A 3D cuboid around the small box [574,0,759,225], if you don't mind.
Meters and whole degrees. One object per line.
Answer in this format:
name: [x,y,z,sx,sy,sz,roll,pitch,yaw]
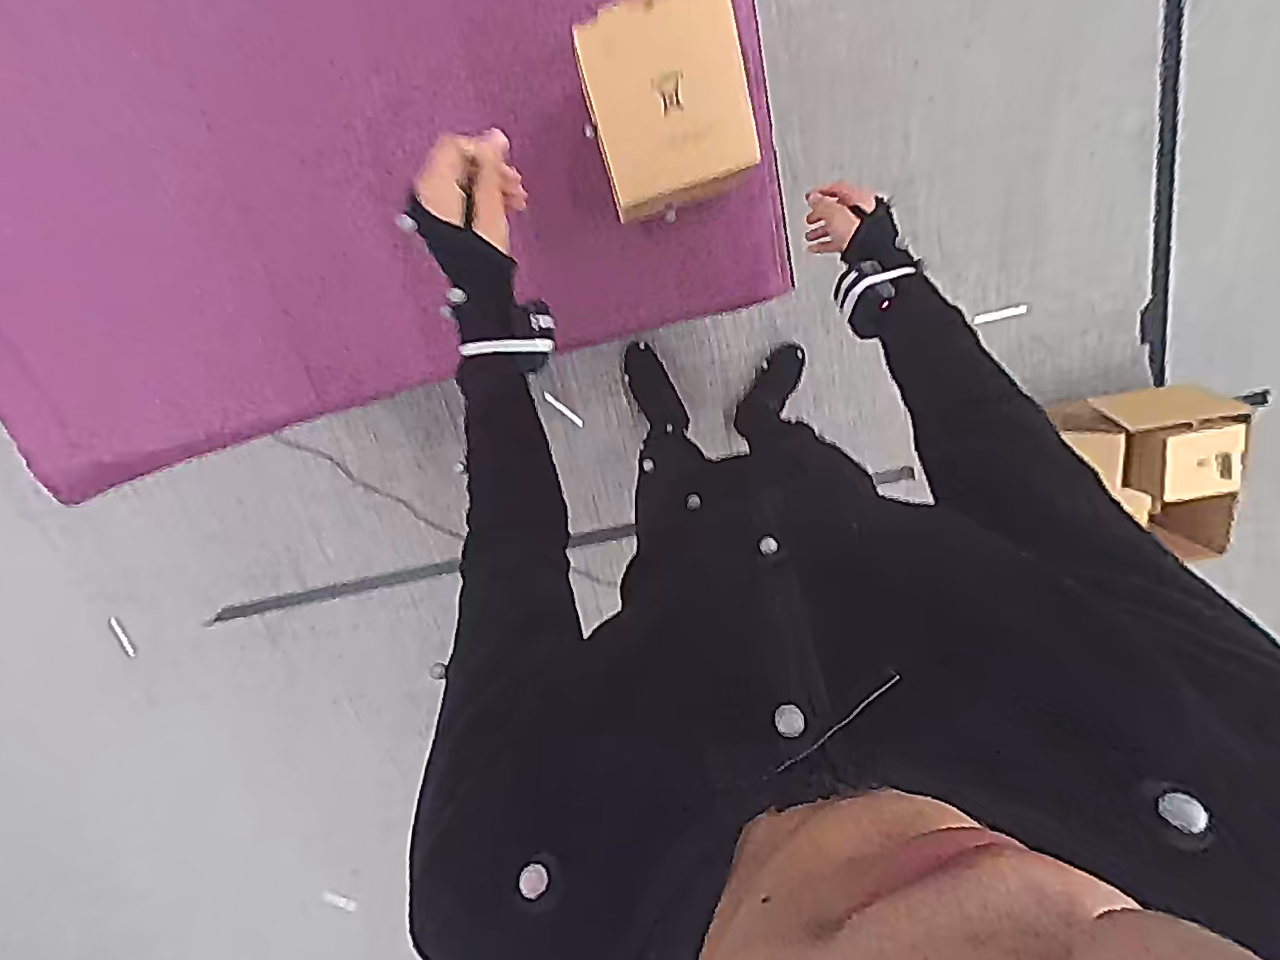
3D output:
small box: [0.029,-0.434,0.655,0.168,0.176,0.179,-16,107,4]
